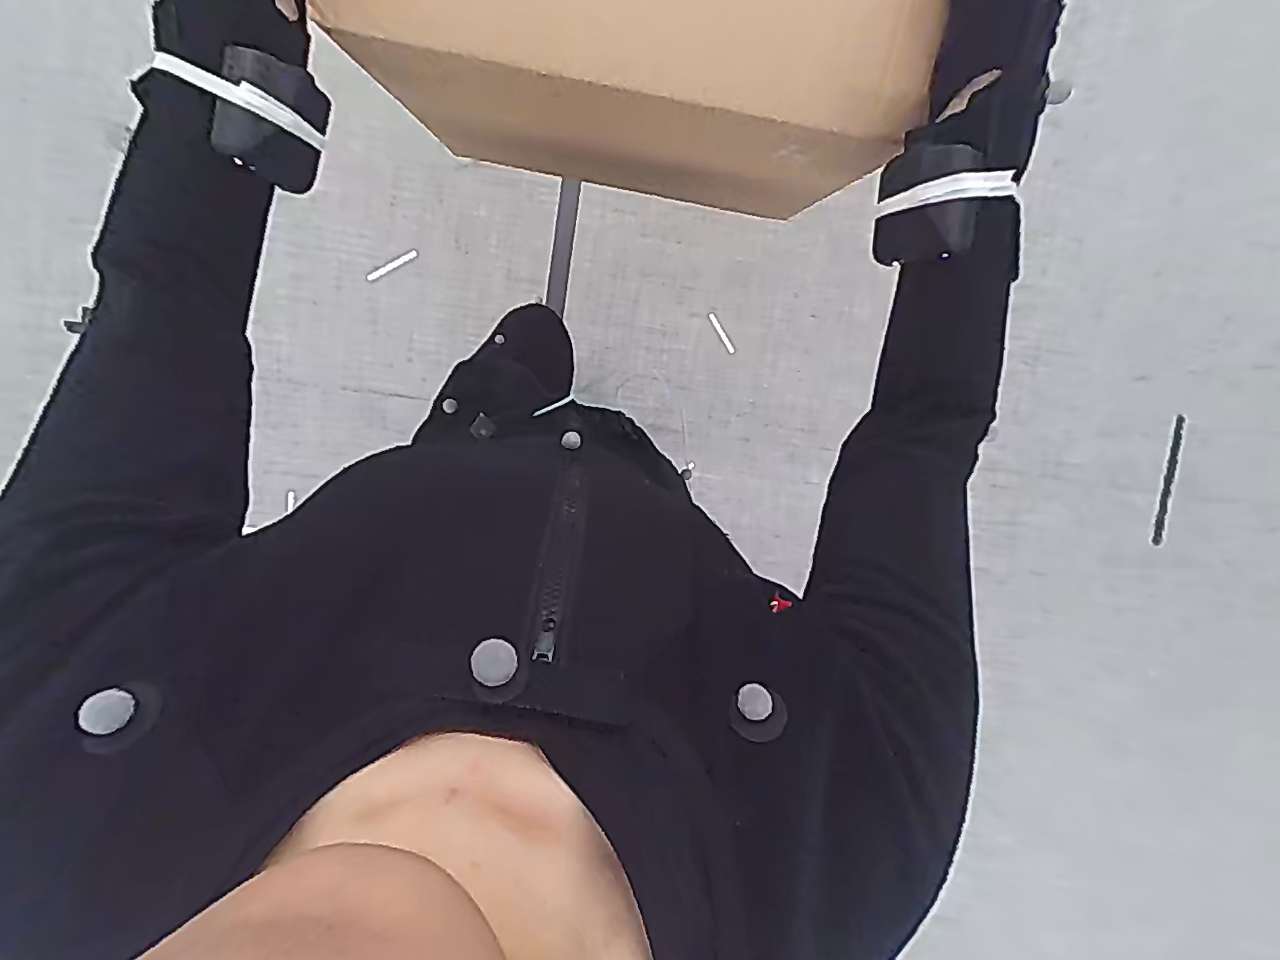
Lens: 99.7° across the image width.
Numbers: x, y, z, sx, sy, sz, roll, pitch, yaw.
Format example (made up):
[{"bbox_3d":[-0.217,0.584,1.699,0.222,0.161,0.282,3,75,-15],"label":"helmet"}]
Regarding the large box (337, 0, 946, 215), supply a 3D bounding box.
[{"bbox_3d":[0.013,-0.453,0.468,0.408,0.320,0.320,9,107,-6],"label":"large box"}]
